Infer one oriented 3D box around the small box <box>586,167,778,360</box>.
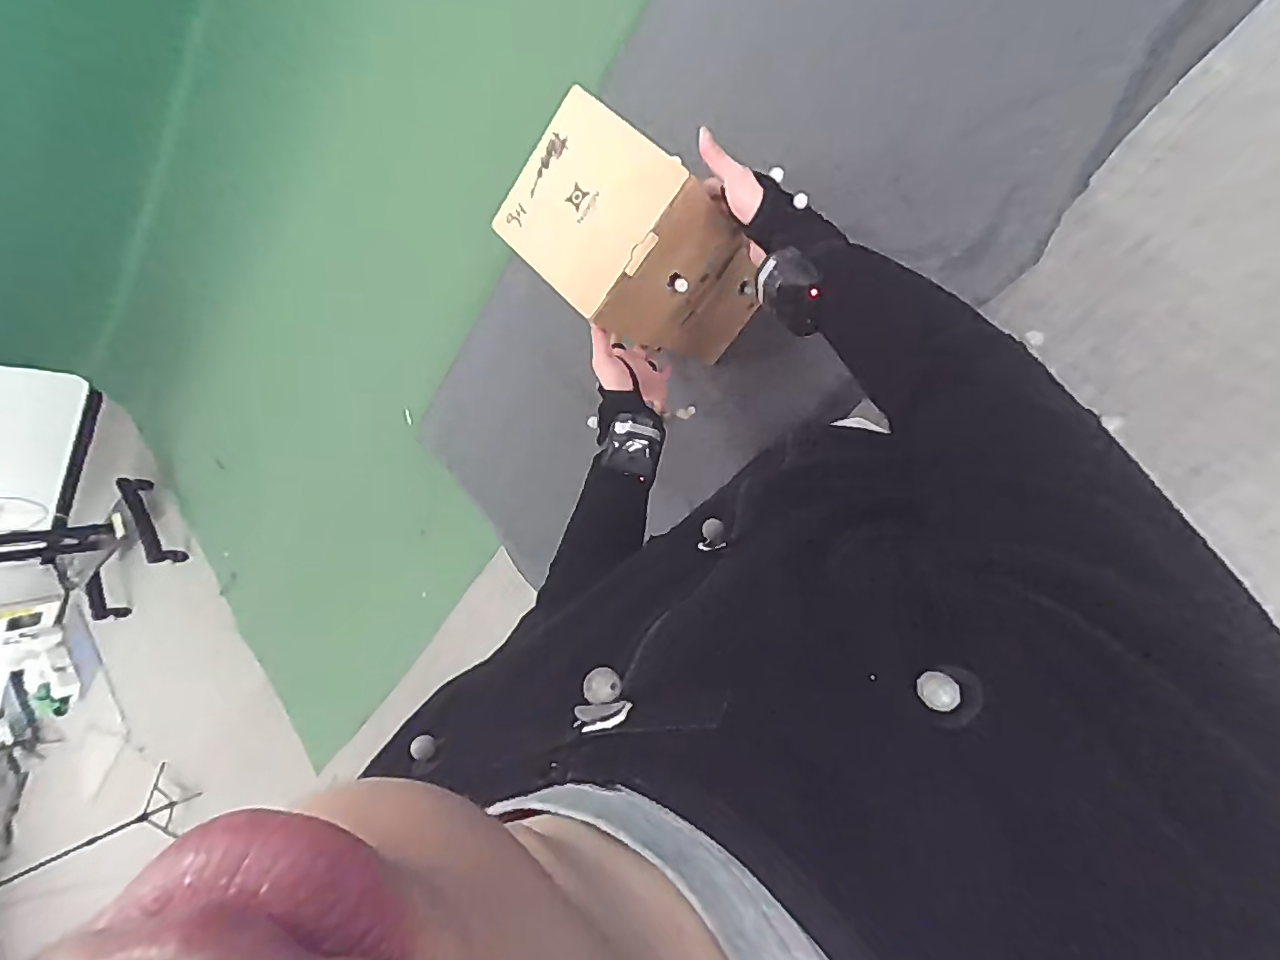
[{"bbox_3d":[0.066,-0.286,0.757,0.179,0.176,0.168,46,111,19],"label":"small box"}]
